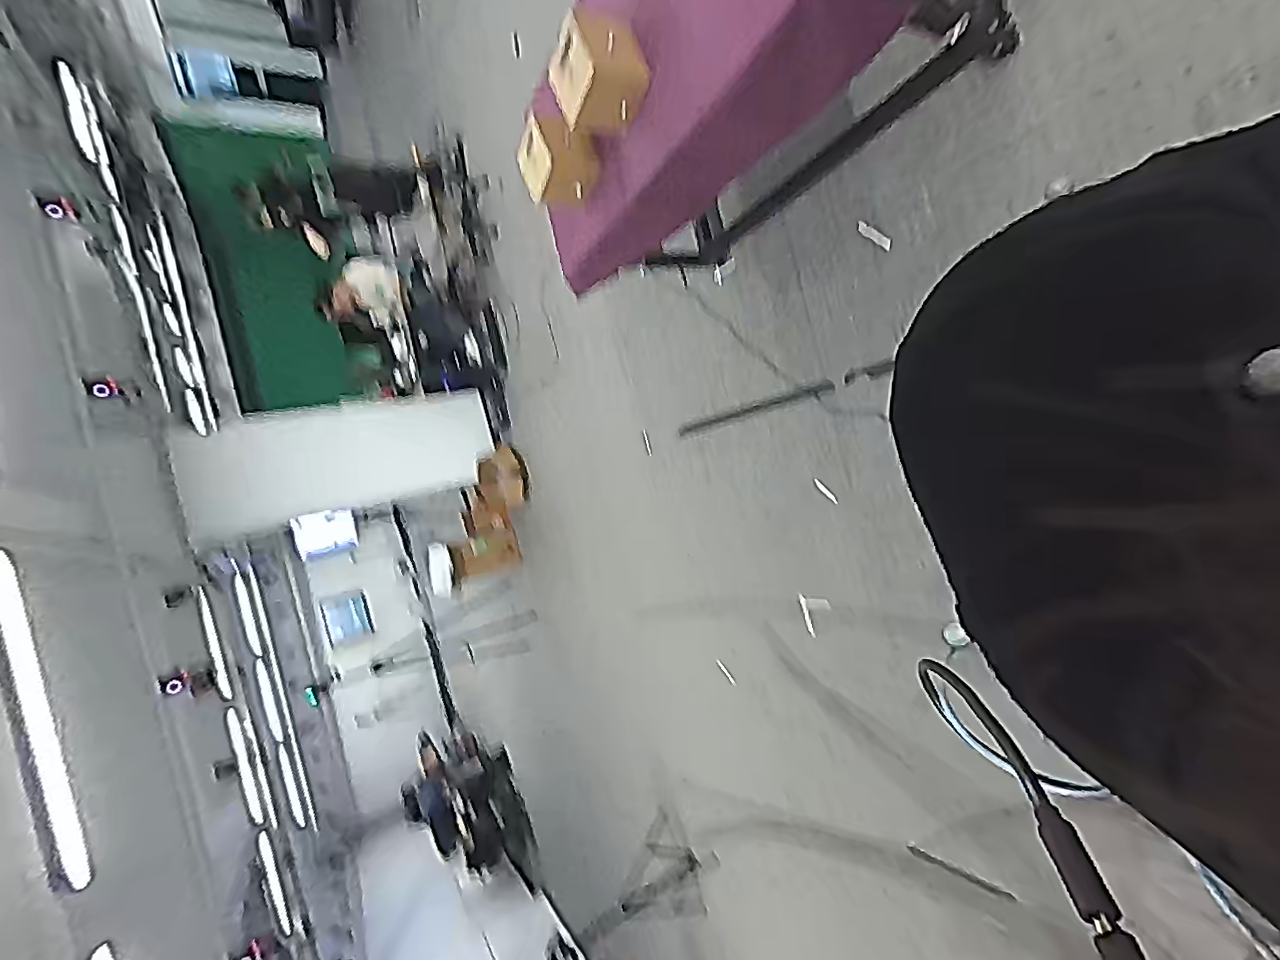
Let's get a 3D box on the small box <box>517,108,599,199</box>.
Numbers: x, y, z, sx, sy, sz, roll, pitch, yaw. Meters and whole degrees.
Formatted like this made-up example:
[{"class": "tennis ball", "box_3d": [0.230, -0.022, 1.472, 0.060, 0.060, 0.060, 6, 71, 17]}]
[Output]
[{"class": "small box", "box_3d": [-0.249, -0.978, 1.637, 0.168, 0.176, 0.179, -38, 71, 57]}]
